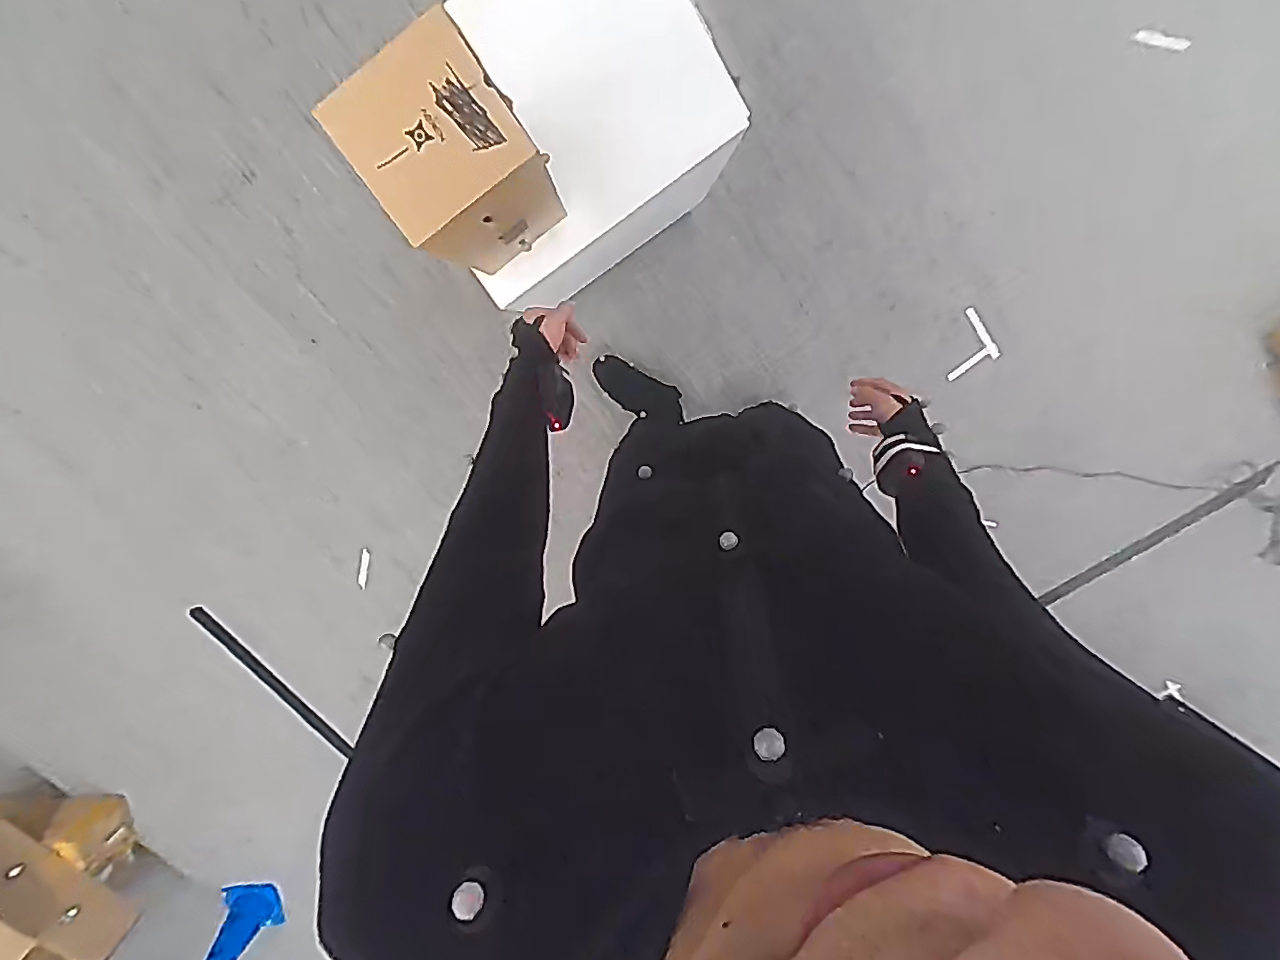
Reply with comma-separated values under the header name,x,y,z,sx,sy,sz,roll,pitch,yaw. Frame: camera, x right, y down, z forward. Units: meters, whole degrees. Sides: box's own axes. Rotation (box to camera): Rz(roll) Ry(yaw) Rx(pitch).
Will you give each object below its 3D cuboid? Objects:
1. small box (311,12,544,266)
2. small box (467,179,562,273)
name,x,y,z,sx,sy,sz,roll,pitch,yaw
small box,-0.231,-0.382,0.646,0.179,0.176,0.168,-34,103,9
small box,-0.236,-0.433,0.802,0.168,0.176,0.179,-35,104,9
